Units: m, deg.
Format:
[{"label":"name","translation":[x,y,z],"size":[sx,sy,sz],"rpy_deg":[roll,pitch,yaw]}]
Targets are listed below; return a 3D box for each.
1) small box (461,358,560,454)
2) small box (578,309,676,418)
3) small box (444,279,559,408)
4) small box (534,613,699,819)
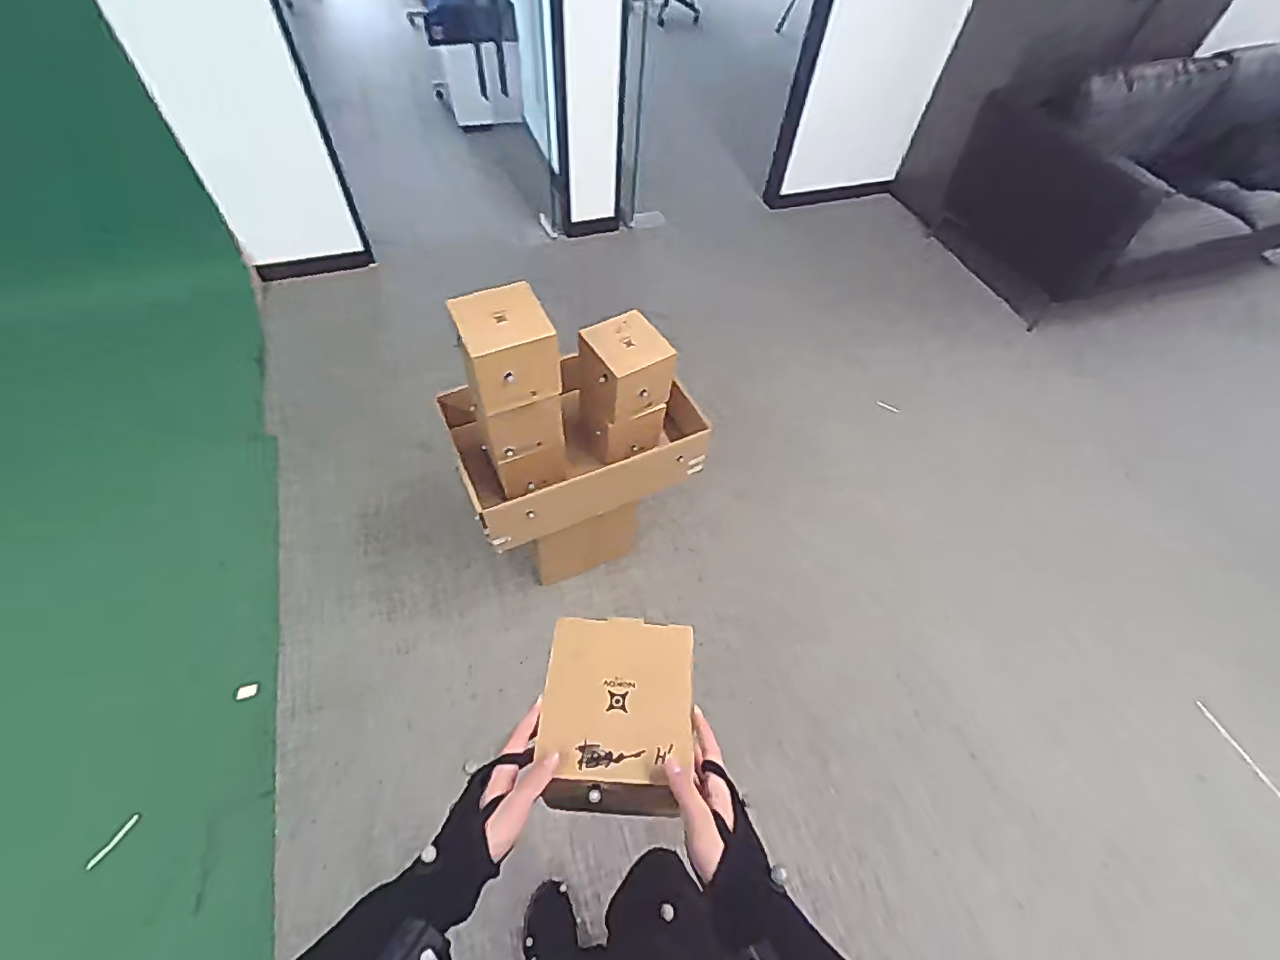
[{"label":"small box","translation":[-0.286,-0.178,1.220],"size":[0.168,0.176,0.179],"rpy_deg":[-19,59,-17]},{"label":"small box","translation":[-0.037,-0.273,1.306],"size":[0.168,0.176,0.179],"rpy_deg":[-27,63,-22]},{"label":"small box","translation":[-0.270,-0.266,1.084],"size":[0.168,0.176,0.179],"rpy_deg":[-21,59,-17]},{"label":"small box","translation":[-0.022,0.281,0.643],"size":[0.168,0.176,0.179],"rpy_deg":[4,50,1]}]
